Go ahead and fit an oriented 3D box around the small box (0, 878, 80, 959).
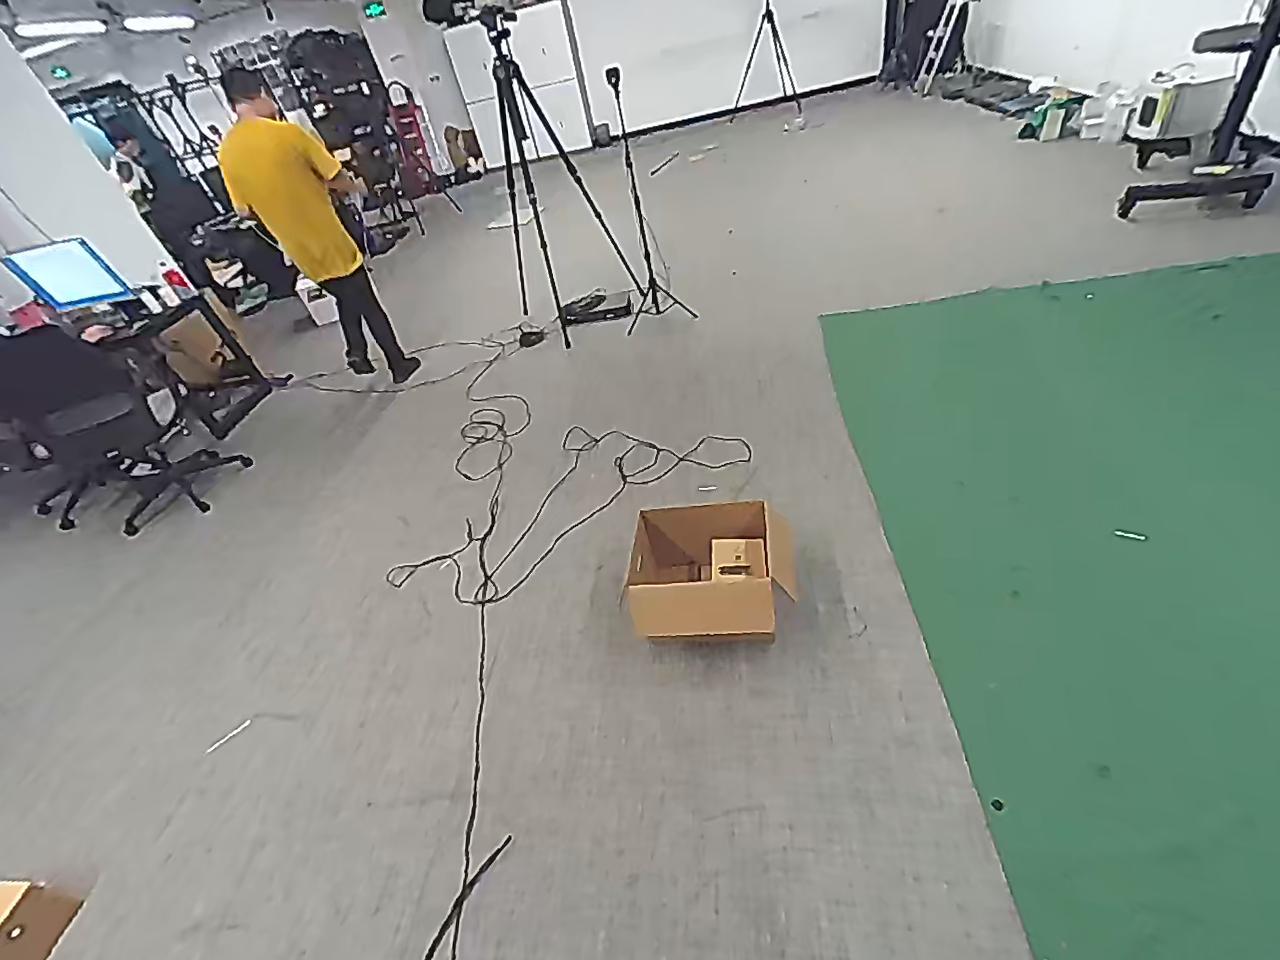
[{"bbox_3d":[-1.615,1.147,1.385,0.168,0.176,0.179,-6,42,10],"label":"small box"}]
